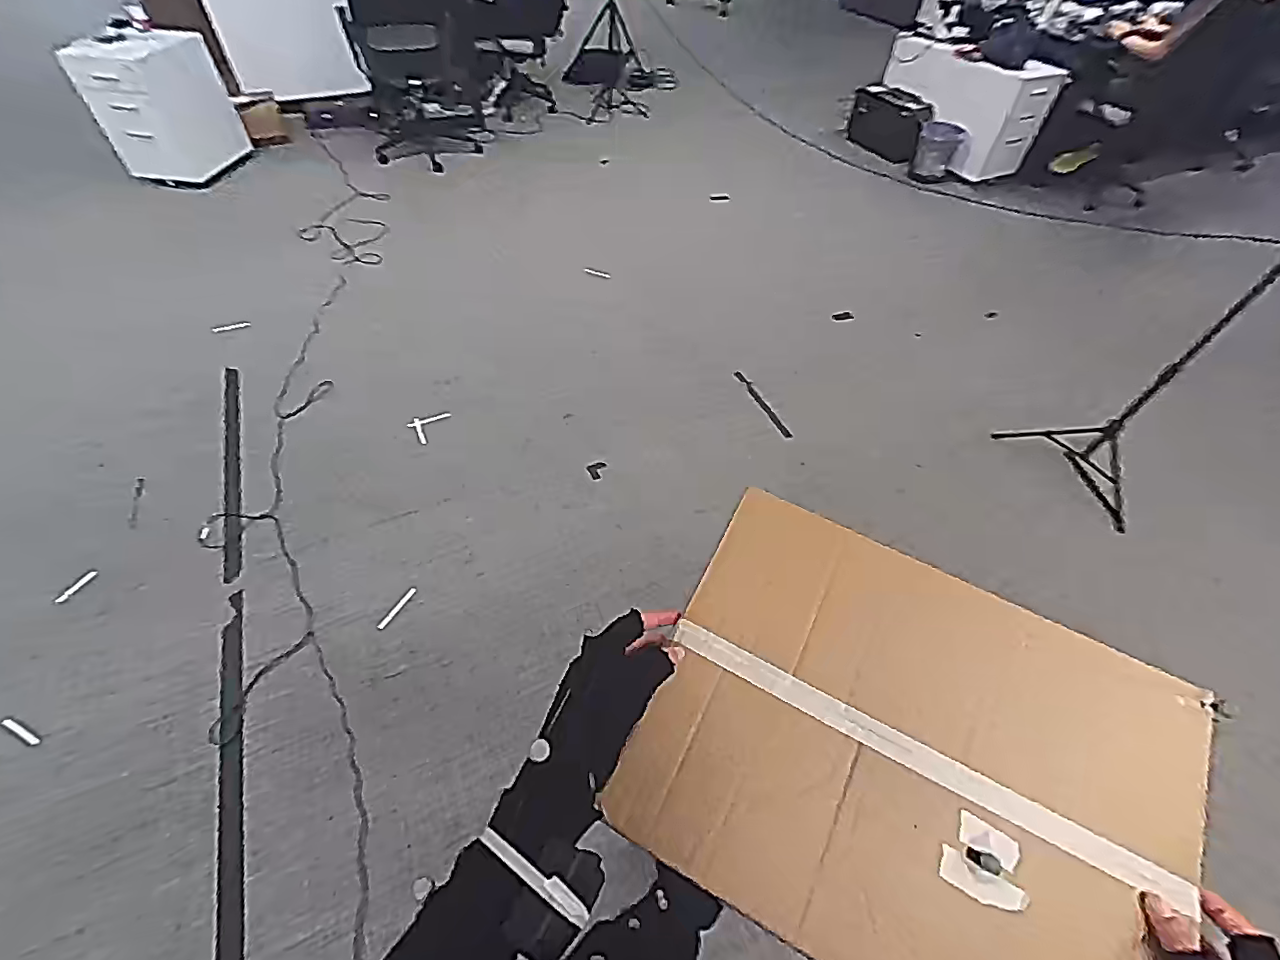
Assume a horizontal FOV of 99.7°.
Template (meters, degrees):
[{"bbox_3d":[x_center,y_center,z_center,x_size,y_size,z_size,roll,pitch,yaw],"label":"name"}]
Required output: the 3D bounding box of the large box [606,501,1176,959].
[{"bbox_3d":[0.216,0.283,0.582,0.408,0.320,0.320,25,68,13],"label":"large box"}]
